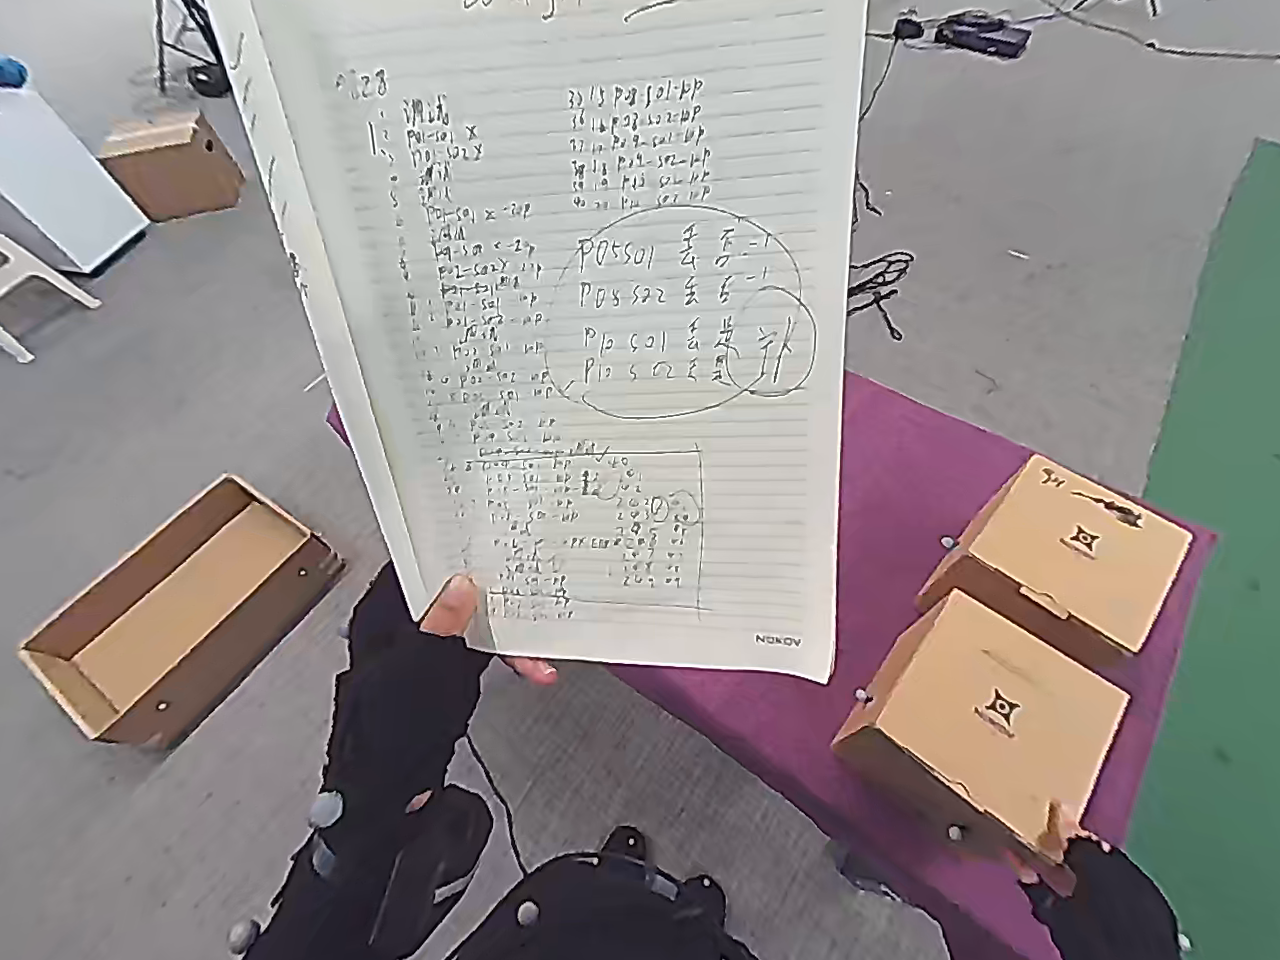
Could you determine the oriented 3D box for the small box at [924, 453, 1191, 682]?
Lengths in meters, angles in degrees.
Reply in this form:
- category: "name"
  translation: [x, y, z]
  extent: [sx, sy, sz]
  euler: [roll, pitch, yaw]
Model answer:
- category: "small box"
  translation: [0.469, 0.109, 0.639]
  extent: [0.168, 0.176, 0.179]
  euler: [38, 68, 24]
